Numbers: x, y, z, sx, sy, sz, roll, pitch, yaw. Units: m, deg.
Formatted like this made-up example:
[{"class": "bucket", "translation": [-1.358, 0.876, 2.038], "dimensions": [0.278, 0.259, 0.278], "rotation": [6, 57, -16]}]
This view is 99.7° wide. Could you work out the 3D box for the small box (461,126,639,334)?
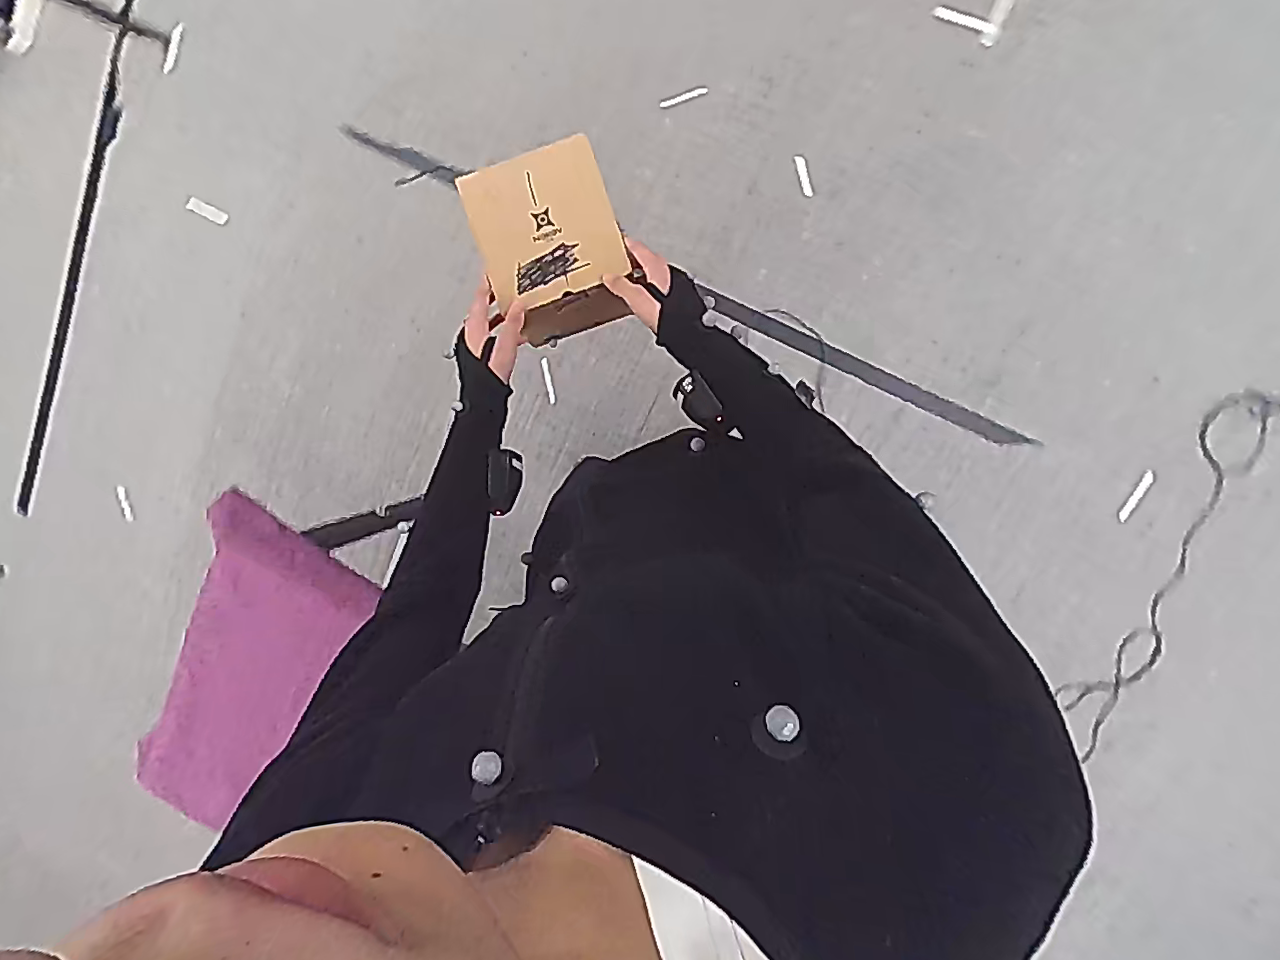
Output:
[{"class": "small box", "translation": [-0.102, -0.302, 0.700], "dimensions": [0.168, 0.176, 0.179], "rotation": [-18, 92, 2]}]
